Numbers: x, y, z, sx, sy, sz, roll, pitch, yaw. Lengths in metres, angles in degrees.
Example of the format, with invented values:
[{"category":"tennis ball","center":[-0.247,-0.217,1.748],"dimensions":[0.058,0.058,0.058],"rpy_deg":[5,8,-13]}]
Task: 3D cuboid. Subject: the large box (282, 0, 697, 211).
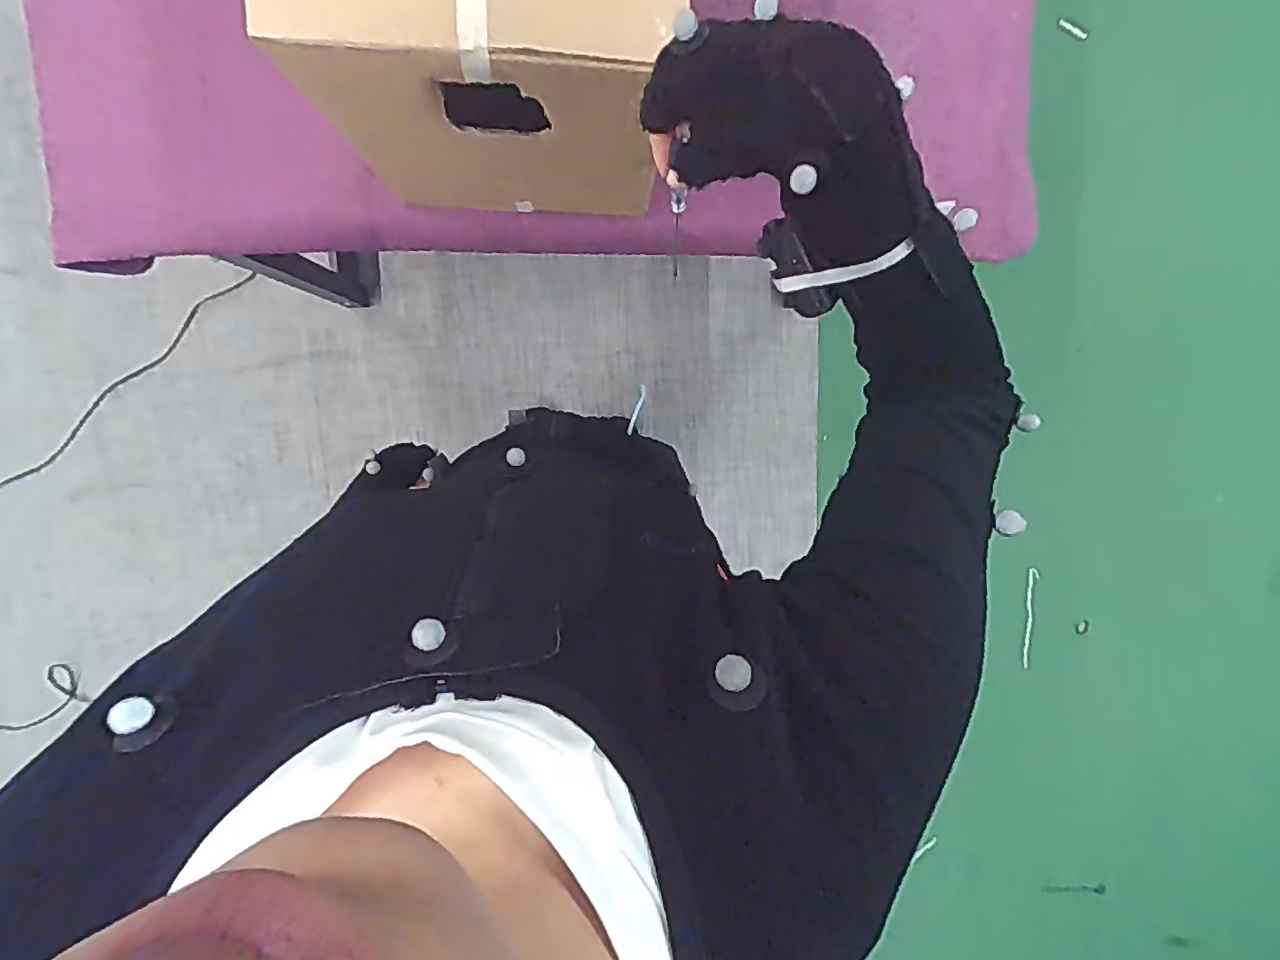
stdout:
[{"category":"large box","center":[-0.121,-0.534,0.530],"dimensions":[0.320,0.320,0.408],"rpy_deg":[1,98,-5]}]
